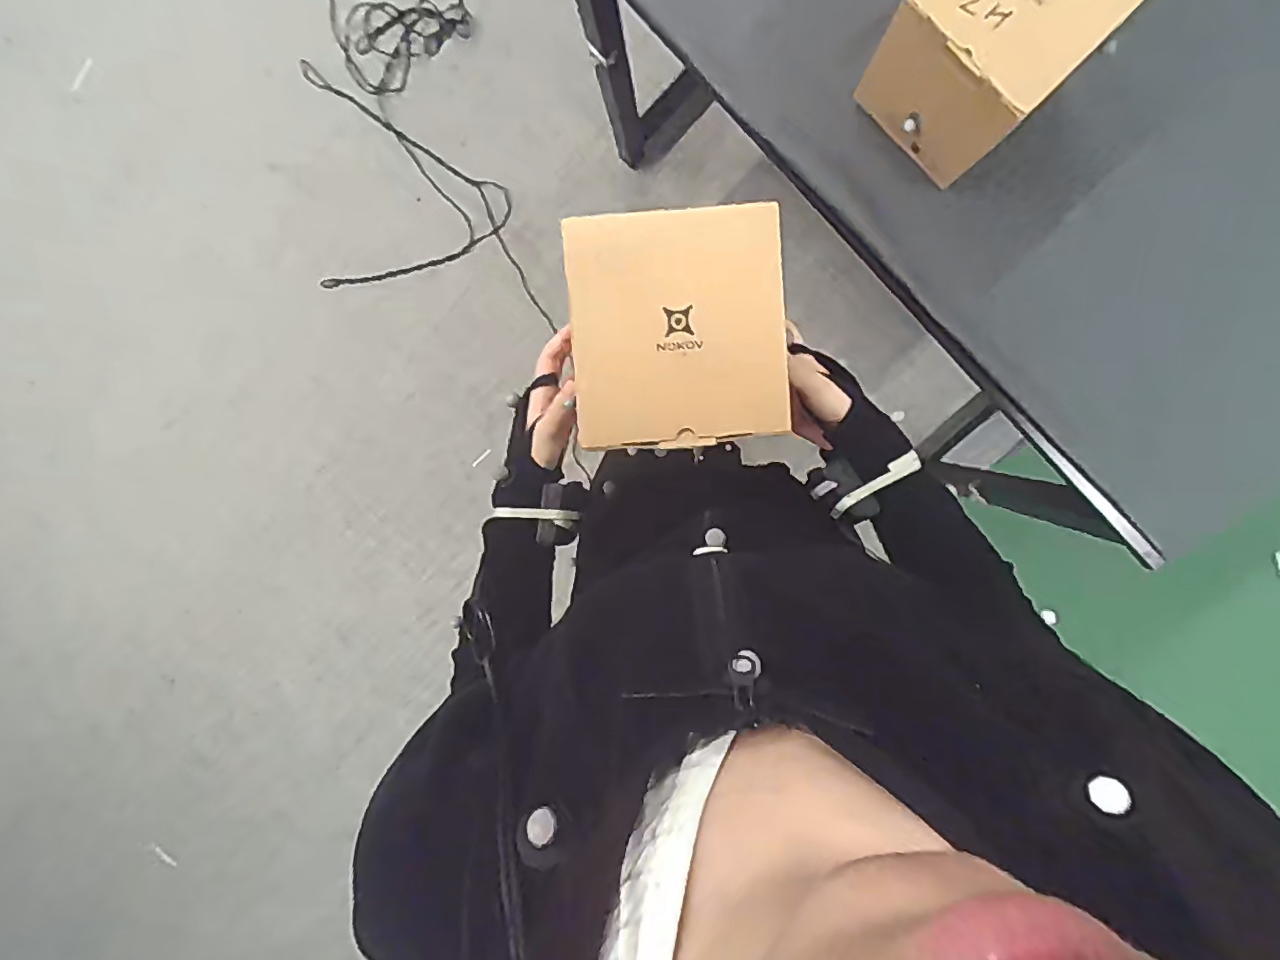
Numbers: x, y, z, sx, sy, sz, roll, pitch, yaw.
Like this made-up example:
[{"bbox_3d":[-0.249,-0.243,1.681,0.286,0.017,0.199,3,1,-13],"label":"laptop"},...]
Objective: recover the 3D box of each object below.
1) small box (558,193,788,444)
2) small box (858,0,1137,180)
[{"bbox_3d":[0.022,-0.125,0.482,0.168,0.176,0.179,-5,94,-1],"label":"small box"},{"bbox_3d":[0.369,-0.473,0.578,0.168,0.176,0.179,45,98,-1],"label":"small box"}]
